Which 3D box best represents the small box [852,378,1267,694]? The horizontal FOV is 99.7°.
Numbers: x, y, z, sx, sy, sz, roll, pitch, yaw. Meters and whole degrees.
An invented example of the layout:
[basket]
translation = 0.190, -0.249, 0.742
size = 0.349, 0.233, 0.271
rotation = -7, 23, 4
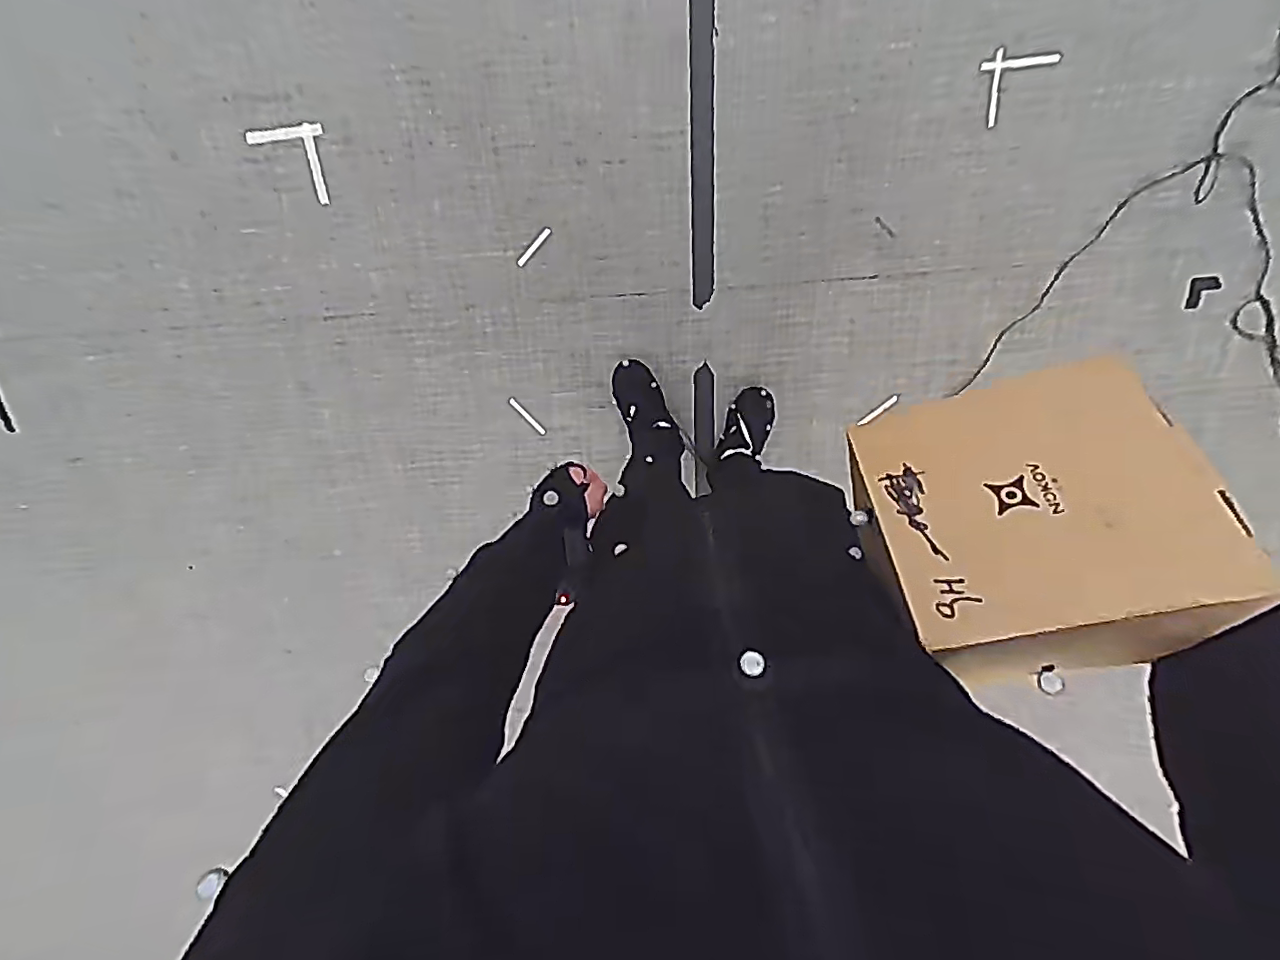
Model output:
[small box]
translation = 0.272, 0.056, 0.411
size = 0.179, 0.168, 0.176
rotation = -15, 146, 15
